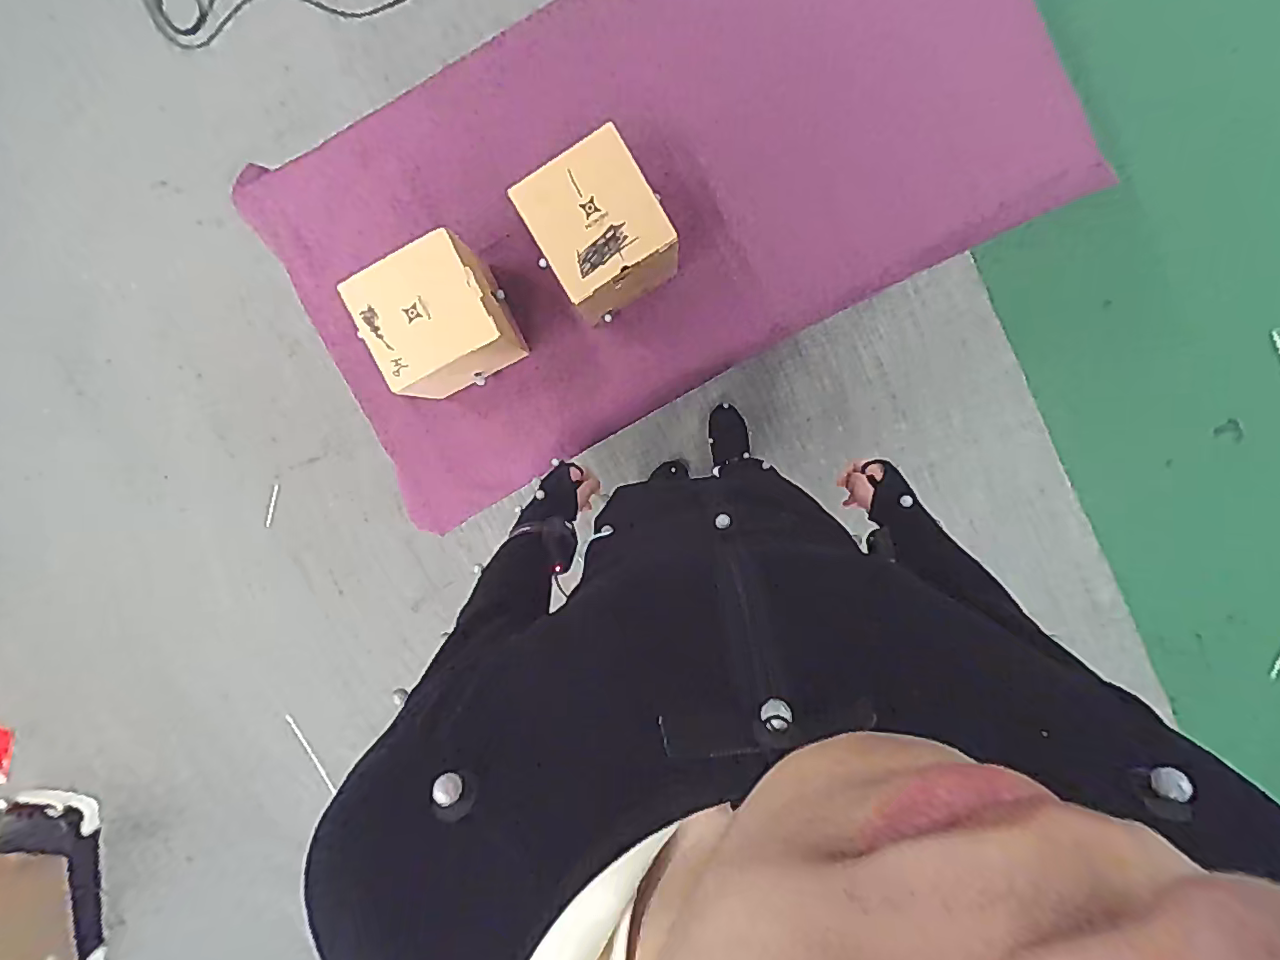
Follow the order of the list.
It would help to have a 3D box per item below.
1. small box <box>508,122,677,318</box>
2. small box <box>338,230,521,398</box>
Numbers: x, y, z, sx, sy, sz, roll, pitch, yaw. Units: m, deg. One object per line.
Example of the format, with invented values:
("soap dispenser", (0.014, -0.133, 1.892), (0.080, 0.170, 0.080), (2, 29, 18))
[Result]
("small box", (-0.057, -0.355, 0.785), (0.168, 0.176, 0.179), (-31, 93, 5))
("small box", (-0.294, -0.234, 0.807), (0.179, 0.176, 0.168), (-26, 94, 3))
